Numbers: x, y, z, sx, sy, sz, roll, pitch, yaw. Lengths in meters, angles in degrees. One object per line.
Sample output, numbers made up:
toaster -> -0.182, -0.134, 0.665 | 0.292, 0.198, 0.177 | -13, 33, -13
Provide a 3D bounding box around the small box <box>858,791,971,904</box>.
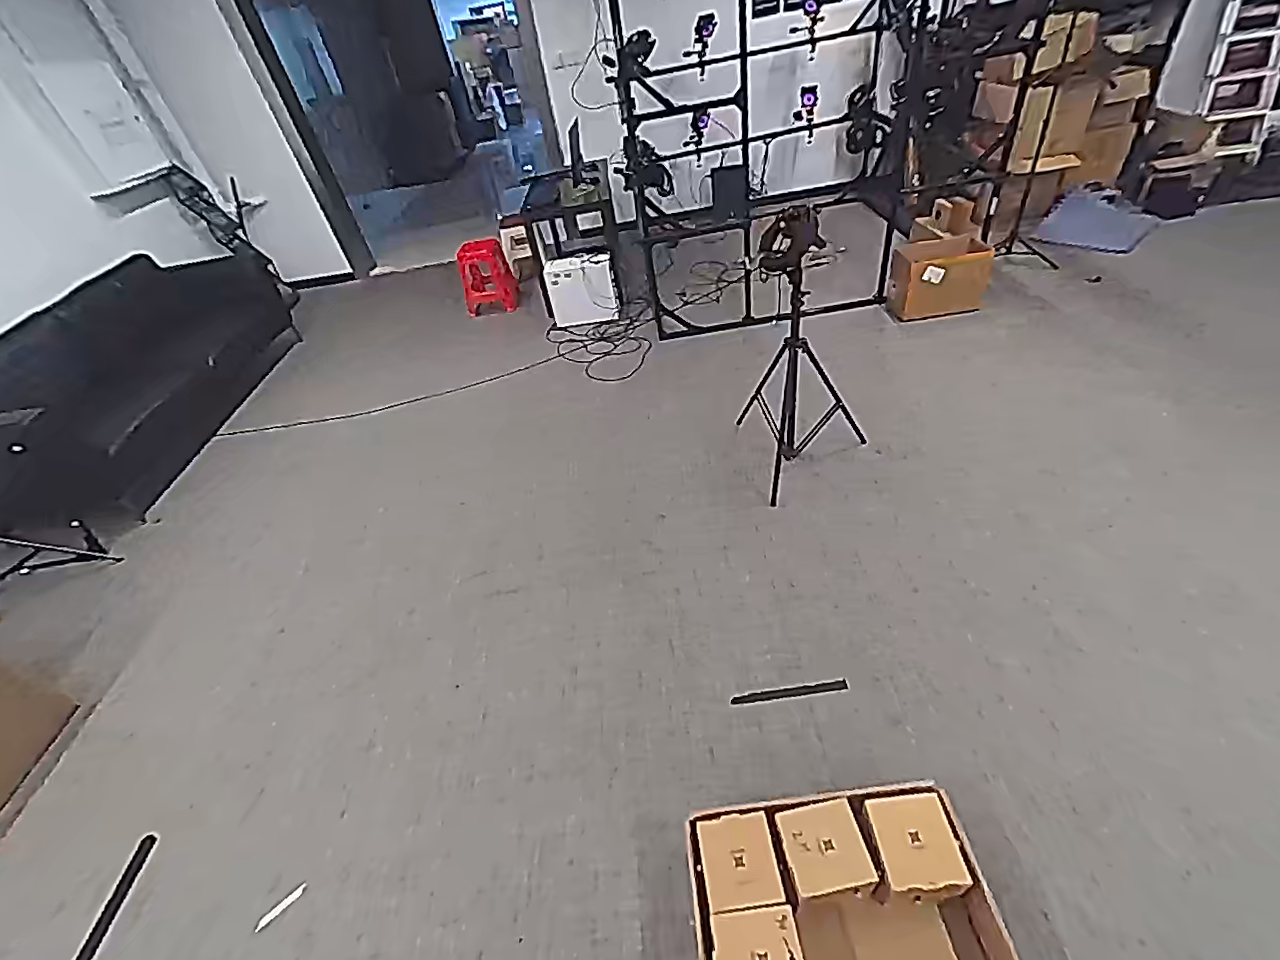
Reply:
small box -> 0.616, 0.844, 1.240 | 0.168, 0.176, 0.179 | -10, 44, 4
